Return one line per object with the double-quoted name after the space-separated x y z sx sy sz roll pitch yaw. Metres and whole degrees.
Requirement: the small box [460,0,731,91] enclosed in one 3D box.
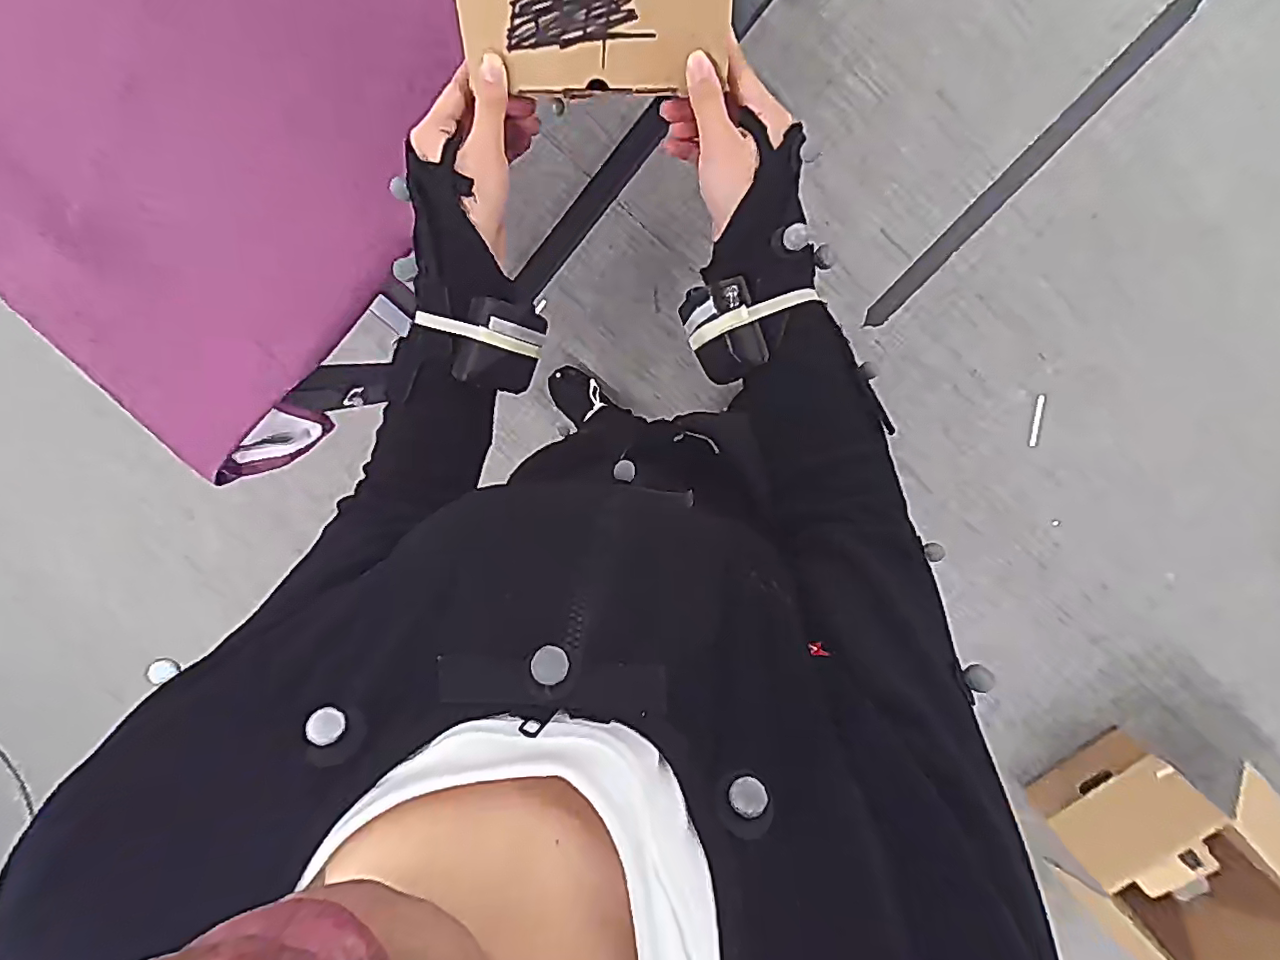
-0.021 -0.367 0.358 0.168 0.176 0.179 2 125 2 "small box"
